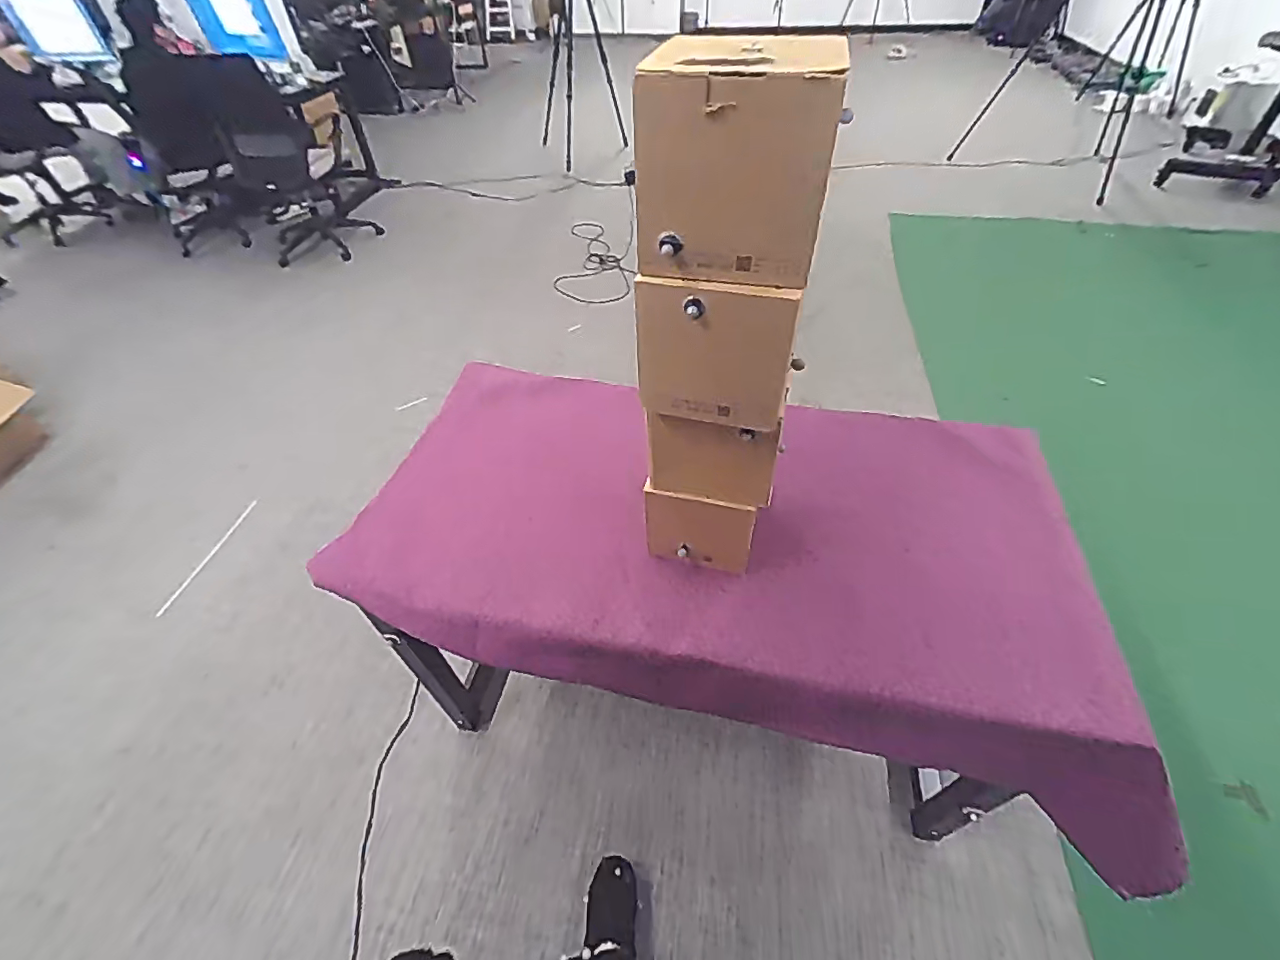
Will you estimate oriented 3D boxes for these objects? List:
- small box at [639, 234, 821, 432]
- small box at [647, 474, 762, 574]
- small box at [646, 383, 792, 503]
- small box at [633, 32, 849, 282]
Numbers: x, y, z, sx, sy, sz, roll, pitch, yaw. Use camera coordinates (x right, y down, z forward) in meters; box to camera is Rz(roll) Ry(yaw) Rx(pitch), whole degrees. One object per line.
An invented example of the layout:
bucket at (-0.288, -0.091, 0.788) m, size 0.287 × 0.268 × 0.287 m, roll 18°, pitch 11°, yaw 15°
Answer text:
small box at (0.102, -0.183, 0.627) m, size 0.168 × 0.176 × 0.179 m, roll 11°, pitch 47°, yaw 14°
small box at (0.114, 0.023, 0.880) m, size 0.168 × 0.176 × 0.179 m, roll 10°, pitch 49°, yaw 13°
small box at (0.114, -0.087, 0.762) m, size 0.179 × 0.176 × 0.168 m, roll 9°, pitch 48°, yaw 12°
small box at (0.097, -0.307, 0.518) m, size 0.168 × 0.176 × 0.179 m, roll 9°, pitch 47°, yaw 11°
